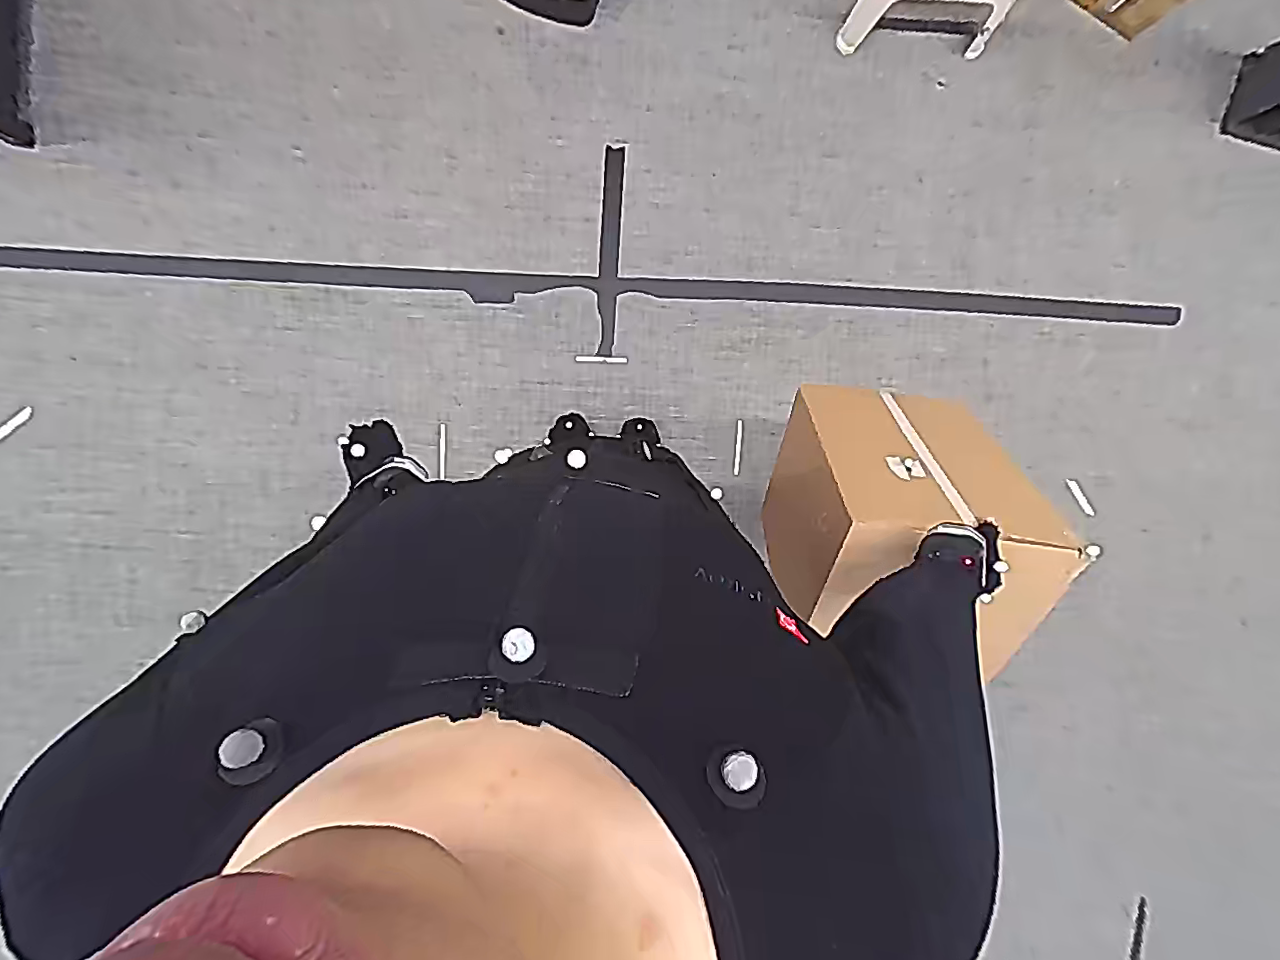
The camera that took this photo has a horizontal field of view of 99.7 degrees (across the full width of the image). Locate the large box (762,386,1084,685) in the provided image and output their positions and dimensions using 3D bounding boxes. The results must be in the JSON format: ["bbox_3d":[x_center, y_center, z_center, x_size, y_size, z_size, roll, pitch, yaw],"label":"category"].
[{"bbox_3d":[0.423,0.082,0.948,0.320,0.408,0.320,7,127,-1],"label":"large box"}]
